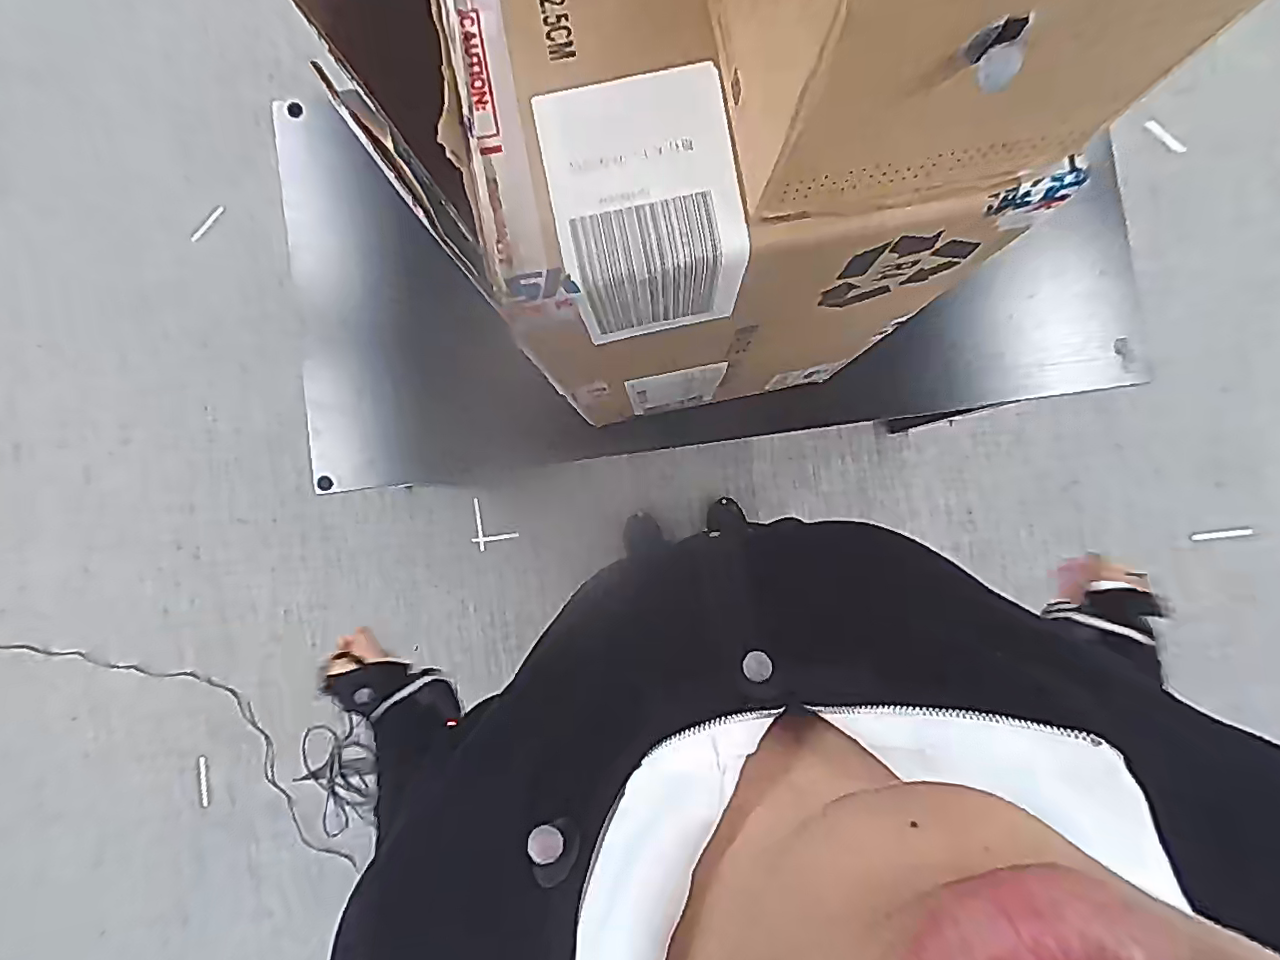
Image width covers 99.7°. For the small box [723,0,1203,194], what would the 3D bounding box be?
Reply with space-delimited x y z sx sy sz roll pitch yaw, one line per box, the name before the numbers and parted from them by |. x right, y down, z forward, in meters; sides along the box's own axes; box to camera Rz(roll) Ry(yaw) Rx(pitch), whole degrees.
small box | 0.129 -0.246 0.218 0.179 0.176 0.168 -11 90 1
